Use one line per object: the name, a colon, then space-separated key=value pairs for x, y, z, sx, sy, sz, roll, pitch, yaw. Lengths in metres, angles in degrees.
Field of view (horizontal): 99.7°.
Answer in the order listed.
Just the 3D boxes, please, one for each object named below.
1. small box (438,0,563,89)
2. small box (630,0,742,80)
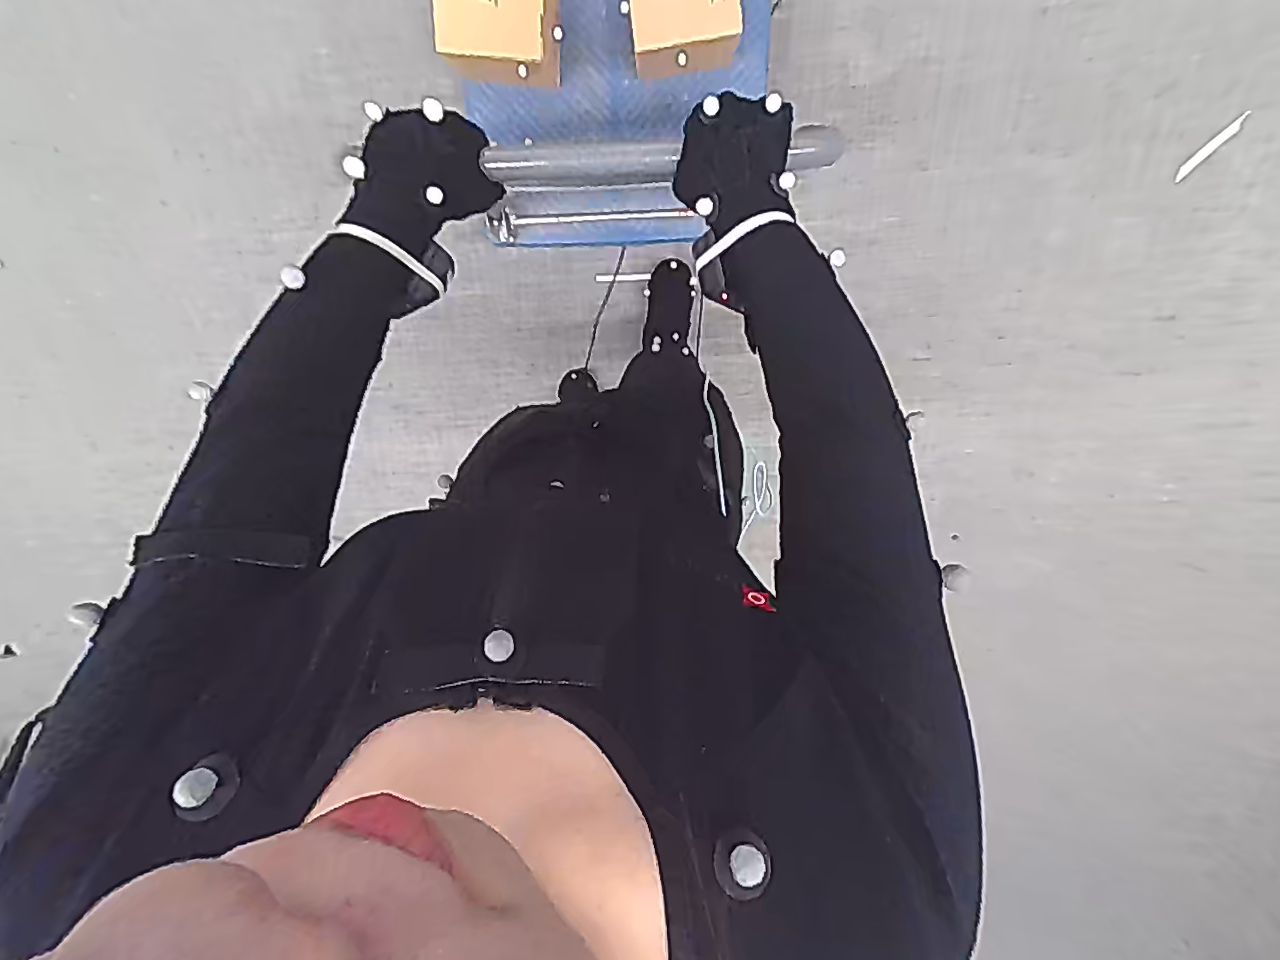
small box: x=-0.233 y=-0.796 z=0.928 sx=0.179 sy=0.176 sz=0.168 roll=3 pitch=113 yaw=-1
small box: x=0.072 y=-0.805 z=0.914 sx=0.179 sy=0.176 sz=0.168 roll=-6 pitch=113 yaw=5
